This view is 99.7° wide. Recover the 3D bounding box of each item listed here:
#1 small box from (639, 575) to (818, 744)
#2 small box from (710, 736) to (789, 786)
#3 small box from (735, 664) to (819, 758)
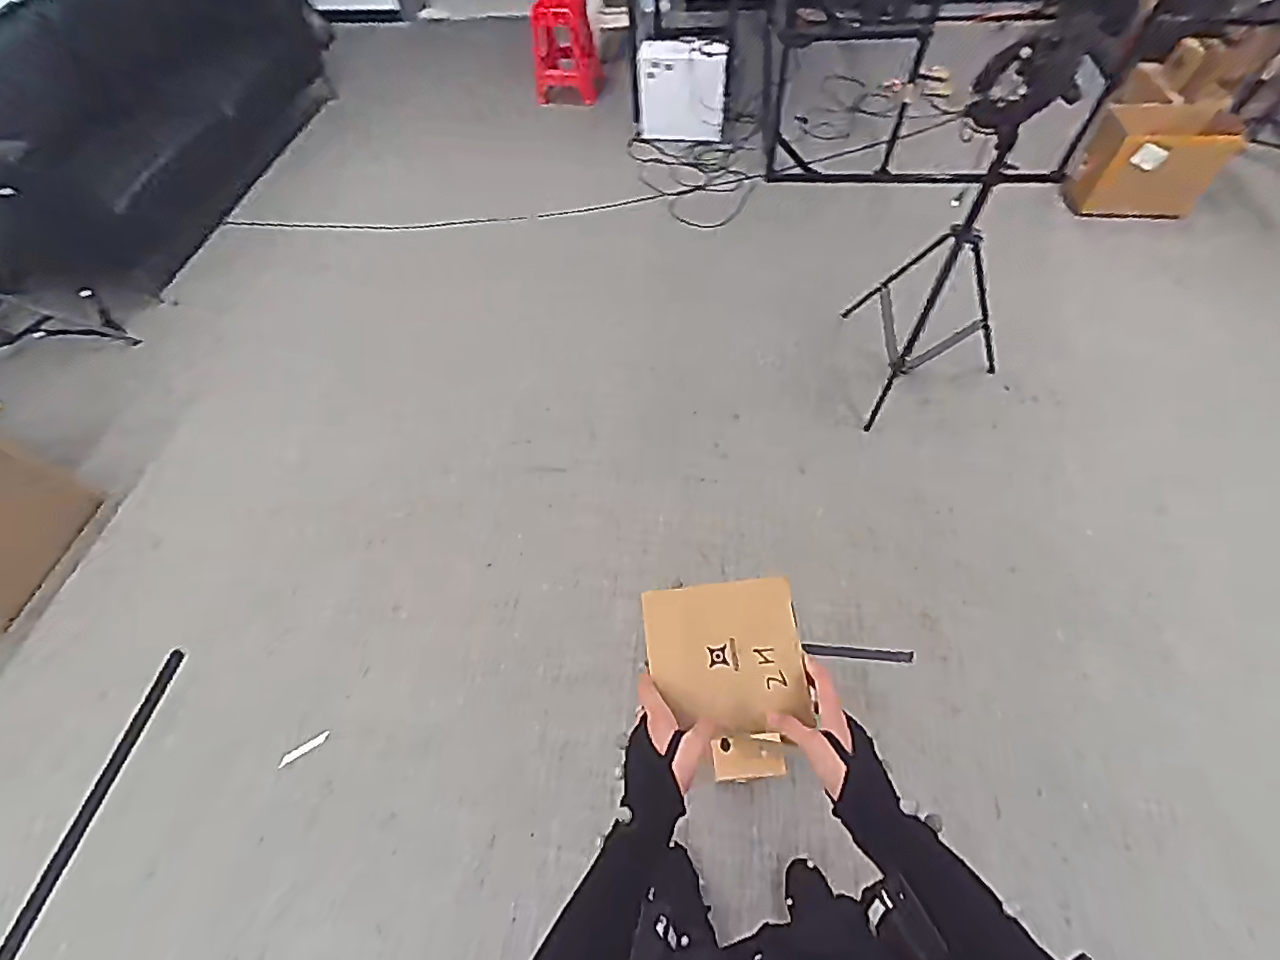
[{"bbox_3d":[0.097,0.225,0.669,0.179,0.176,0.168,-7,68,-1],"label":"small box"},{"bbox_3d":[0.262,0.656,1.356,0.168,0.176,0.179,-6,57,2],"label":"small box"},{"bbox_3d":[0.310,0.522,1.244,0.168,0.176,0.179,6,58,10],"label":"small box"}]
